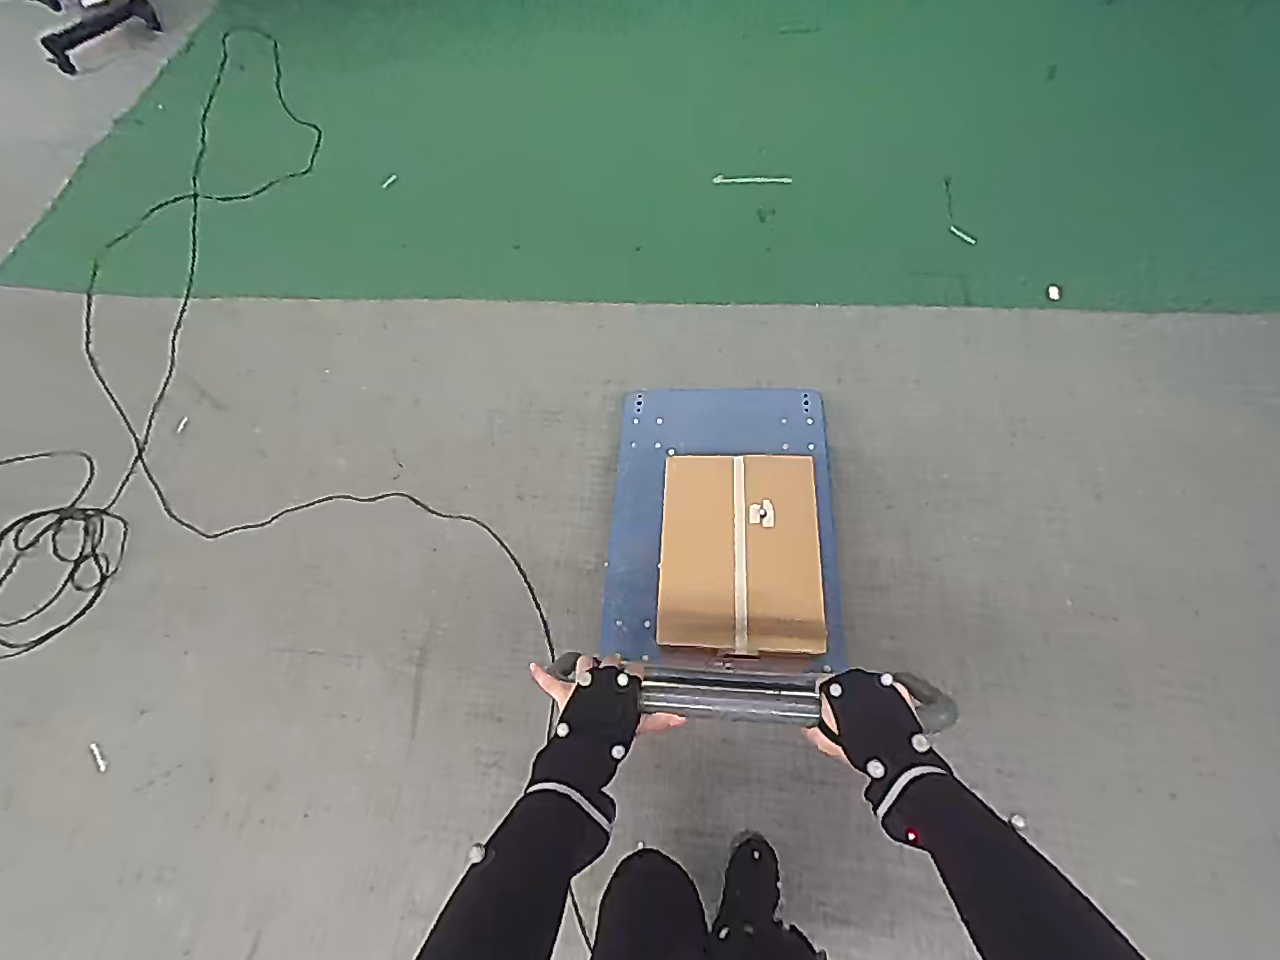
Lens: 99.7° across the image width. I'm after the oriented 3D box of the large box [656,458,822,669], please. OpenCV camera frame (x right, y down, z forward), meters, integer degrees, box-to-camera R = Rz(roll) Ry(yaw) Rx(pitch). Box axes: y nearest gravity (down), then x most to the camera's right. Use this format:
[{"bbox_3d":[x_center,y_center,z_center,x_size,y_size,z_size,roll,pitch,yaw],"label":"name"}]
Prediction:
[{"bbox_3d":[0.207,0.199,1.225,0.320,0.320,0.408,1,64,6],"label":"large box"}]
